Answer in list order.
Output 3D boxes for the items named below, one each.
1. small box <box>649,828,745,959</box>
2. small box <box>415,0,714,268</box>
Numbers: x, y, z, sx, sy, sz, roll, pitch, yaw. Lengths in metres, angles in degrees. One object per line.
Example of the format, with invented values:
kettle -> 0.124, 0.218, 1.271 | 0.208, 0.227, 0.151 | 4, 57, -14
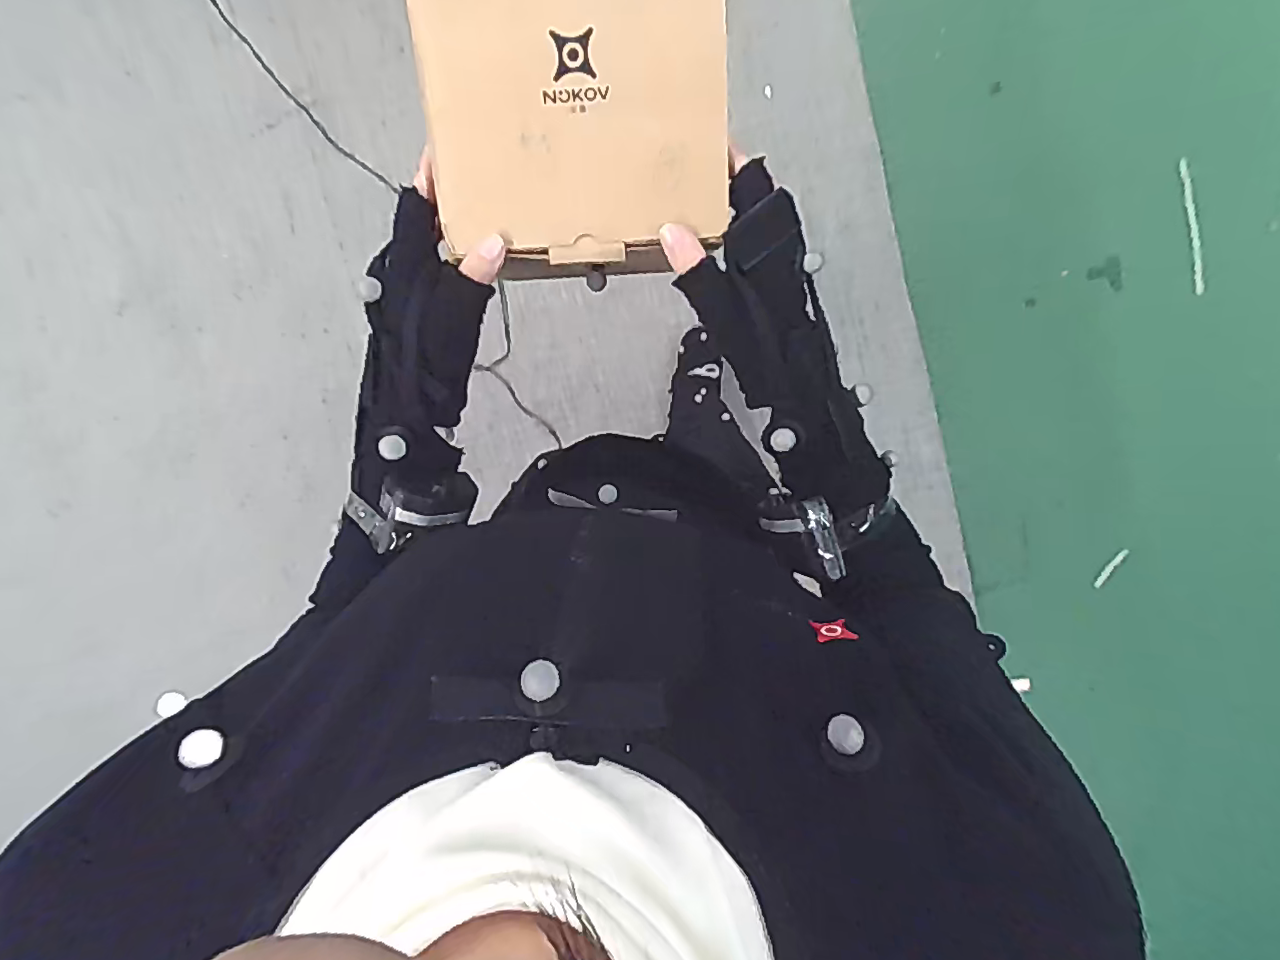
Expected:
small box -> 0.129, 0.949, 1.248 | 0.179, 0.176, 0.168 | -17, 97, 5
small box -> -0.039, -0.254, 0.389 | 0.168, 0.176, 0.179 | -5, 106, 2
